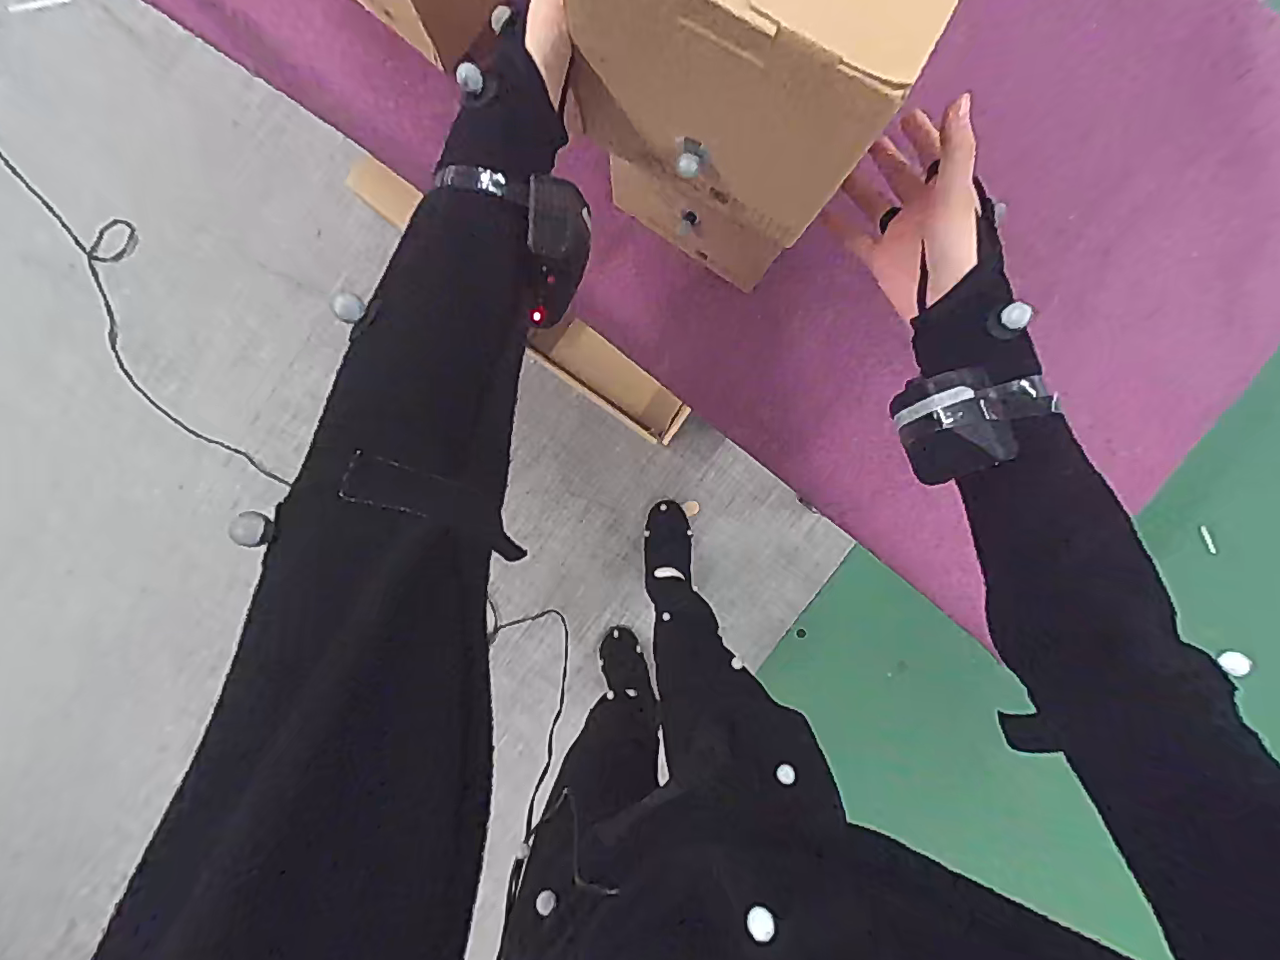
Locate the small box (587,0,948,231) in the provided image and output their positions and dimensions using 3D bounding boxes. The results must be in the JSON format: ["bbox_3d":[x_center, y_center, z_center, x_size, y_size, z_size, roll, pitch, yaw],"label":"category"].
[{"bbox_3d":[0.075,-0.280,0.297,0.168,0.176,0.179,28,93,-1],"label":"small box"}]

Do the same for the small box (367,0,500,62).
[{"bbox_3d":[-0.196,-0.517,0.447,0.168,0.176,0.179,38,94,-3],"label":"small box"}]

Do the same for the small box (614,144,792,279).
[{"bbox_3d":[0.089,-0.304,0.461,0.168,0.176,0.179,33,93,-3],"label":"small box"}]
